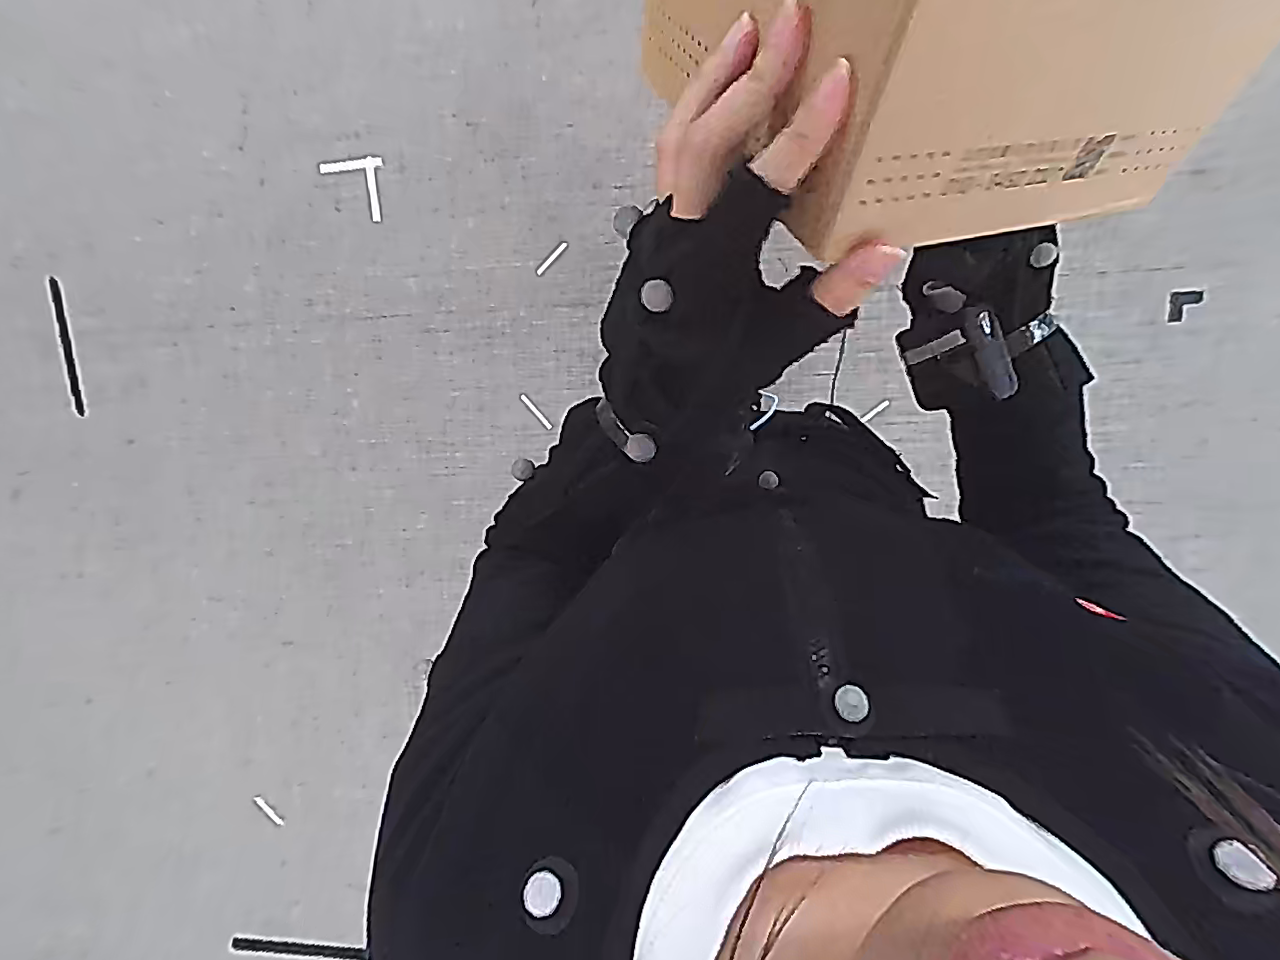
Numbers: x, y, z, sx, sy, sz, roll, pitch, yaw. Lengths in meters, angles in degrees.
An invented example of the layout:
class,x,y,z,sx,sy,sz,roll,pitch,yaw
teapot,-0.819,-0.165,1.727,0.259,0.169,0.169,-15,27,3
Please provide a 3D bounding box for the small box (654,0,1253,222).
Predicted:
class,x,y,z,sx,sy,sz,roll,pitch,yaw
small box,0.115,-0.216,0.205,0.168,0.176,0.179,-15,56,-17
